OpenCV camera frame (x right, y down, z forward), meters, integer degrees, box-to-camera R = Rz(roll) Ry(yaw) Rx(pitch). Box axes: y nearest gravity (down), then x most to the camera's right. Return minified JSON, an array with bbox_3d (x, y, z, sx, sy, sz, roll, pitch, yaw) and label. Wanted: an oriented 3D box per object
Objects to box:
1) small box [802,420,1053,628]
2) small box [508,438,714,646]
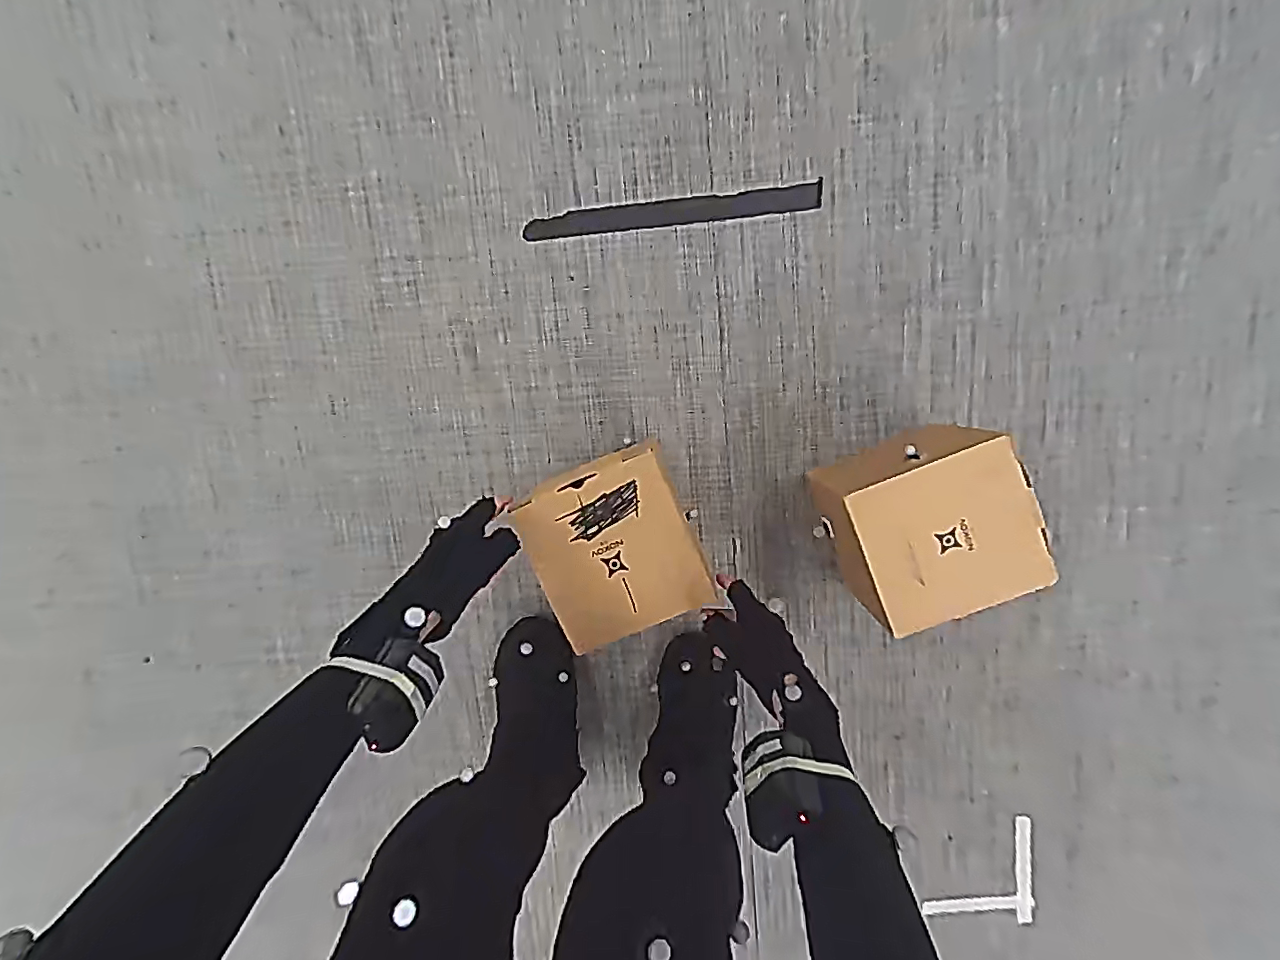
[{"bbox_3d":[0.312,0.037,0.624,0.179,0.176,0.168,-23,96,6],"label":"small box"},{"bbox_3d":[-0.028,0.058,0.638,0.168,0.176,0.179,-24,97,6],"label":"small box"}]
